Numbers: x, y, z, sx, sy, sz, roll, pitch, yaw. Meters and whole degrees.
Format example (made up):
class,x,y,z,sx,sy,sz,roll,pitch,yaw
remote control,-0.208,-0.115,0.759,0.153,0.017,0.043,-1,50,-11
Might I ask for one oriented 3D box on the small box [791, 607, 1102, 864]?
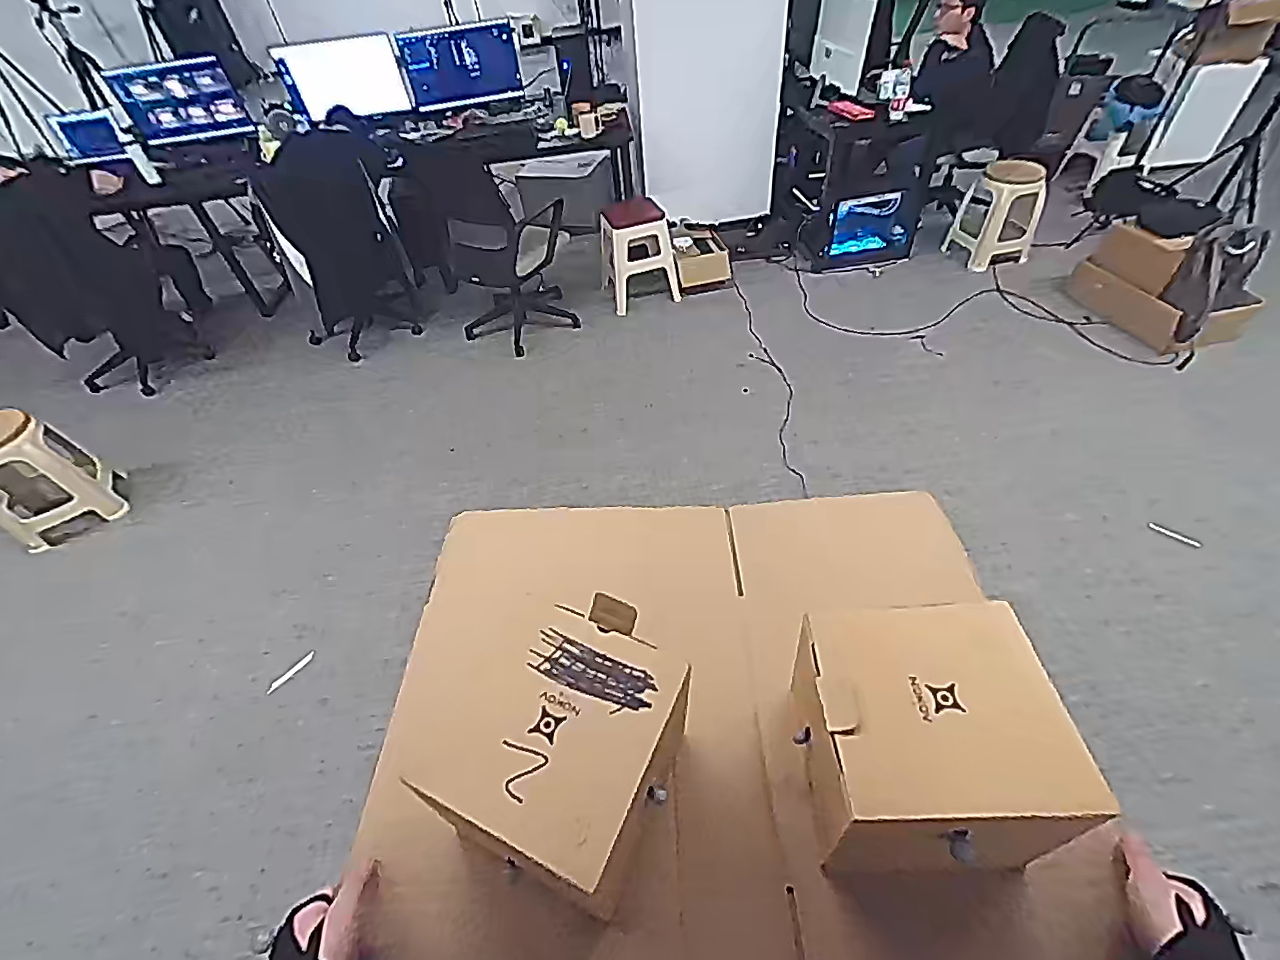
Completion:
class,x,y,z,sx,sy,sz,roll,pitch,yaw
small box,0.245,0.234,0.491,0.179,0.176,0.168,-5,45,5
